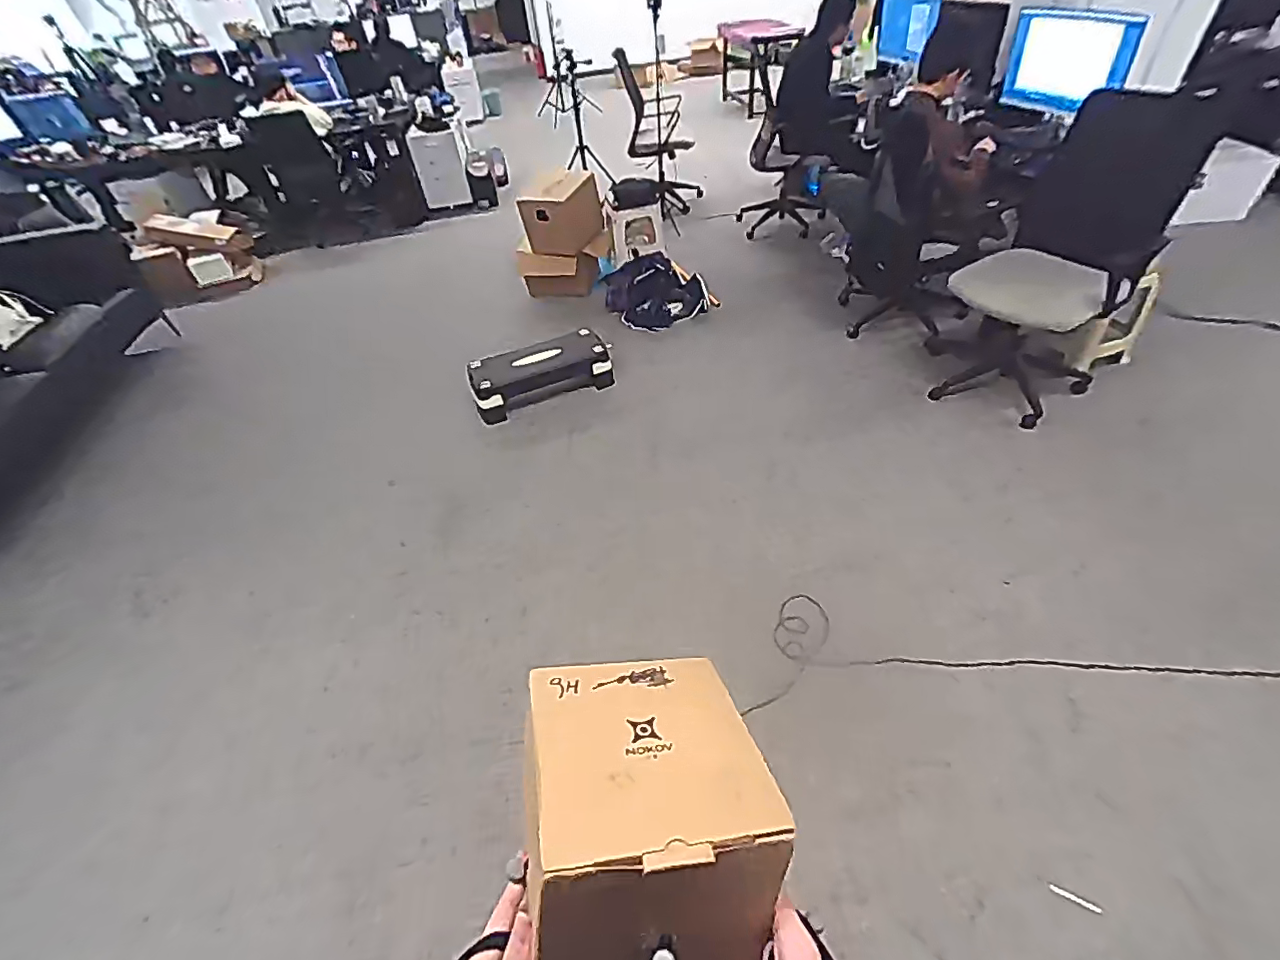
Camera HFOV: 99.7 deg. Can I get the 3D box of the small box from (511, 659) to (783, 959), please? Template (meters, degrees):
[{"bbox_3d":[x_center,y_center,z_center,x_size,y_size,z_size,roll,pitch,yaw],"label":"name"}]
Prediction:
[{"bbox_3d":[-0.012,0.269,0.427,0.168,0.176,0.179,3,22,-14],"label":"small box"}]
